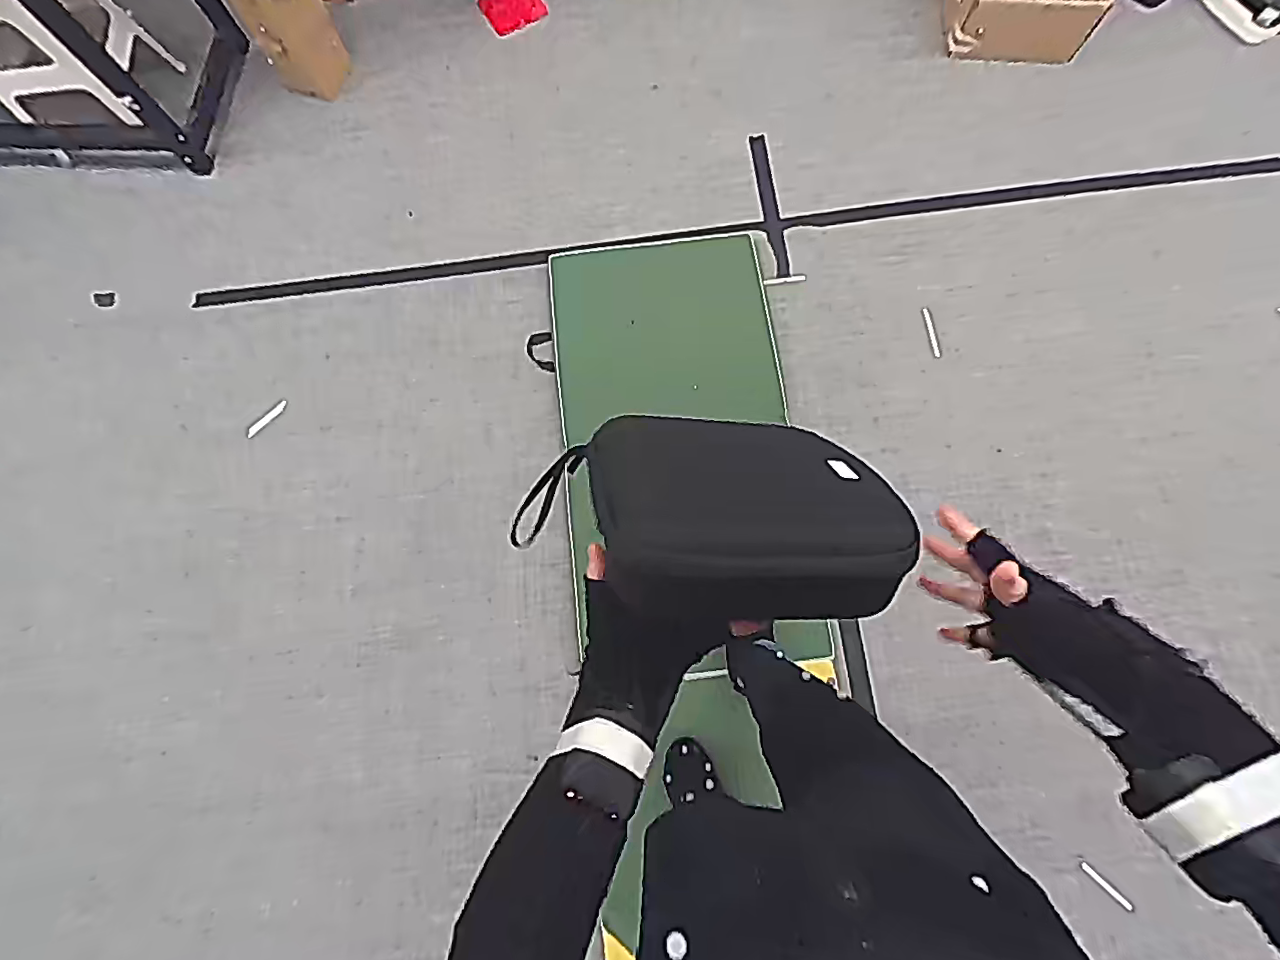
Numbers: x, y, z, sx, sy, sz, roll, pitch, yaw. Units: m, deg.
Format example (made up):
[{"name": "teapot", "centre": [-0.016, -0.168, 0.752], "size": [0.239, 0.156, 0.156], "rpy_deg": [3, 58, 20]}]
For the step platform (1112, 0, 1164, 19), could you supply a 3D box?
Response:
[{"name": "step platform", "centre": [1.860, -1.851, 1.799], "size": [0.684, 0.204, 0.286], "rpy_deg": [-35, 77, -7]}]
